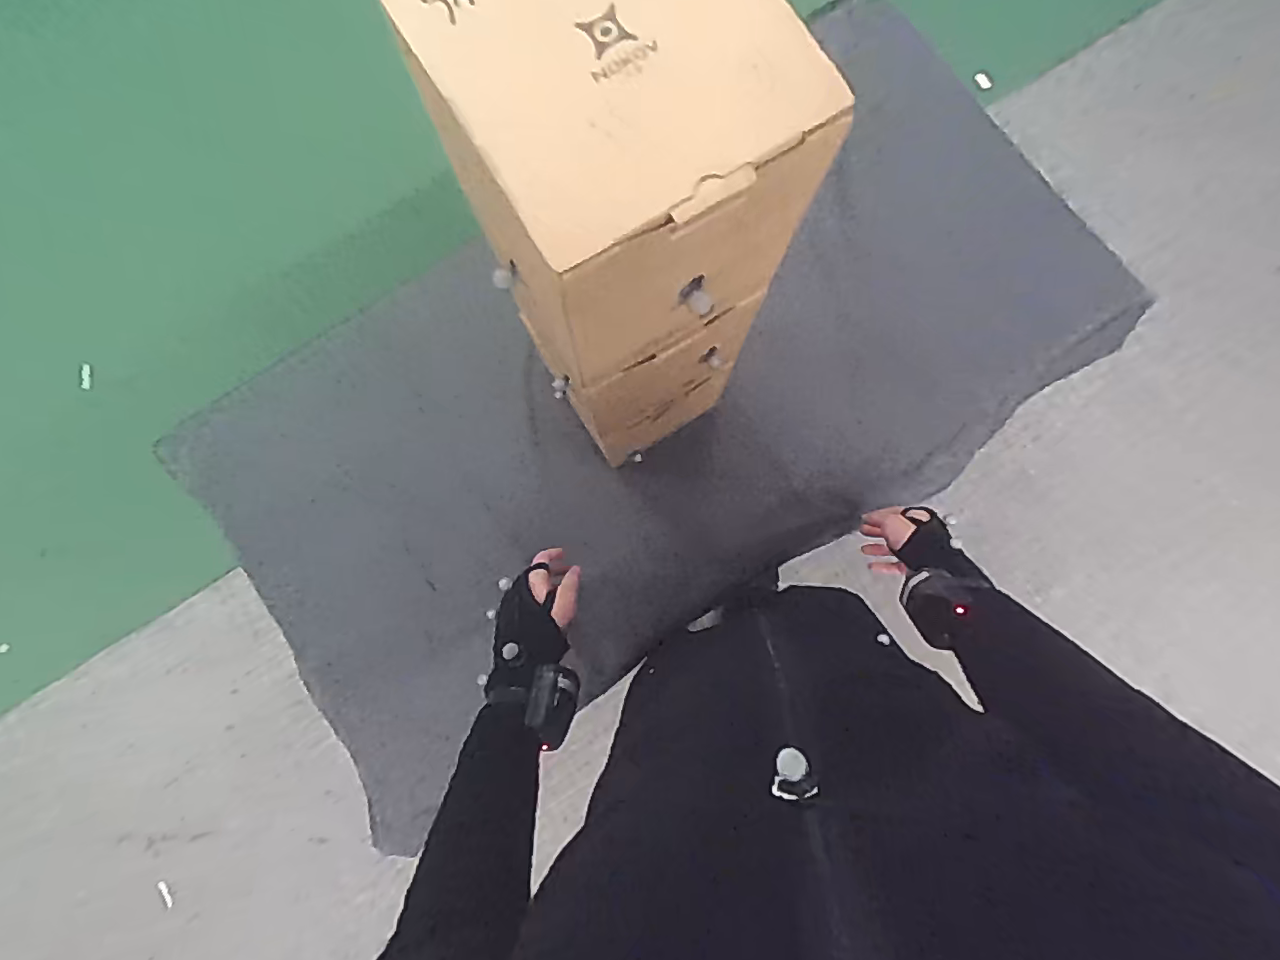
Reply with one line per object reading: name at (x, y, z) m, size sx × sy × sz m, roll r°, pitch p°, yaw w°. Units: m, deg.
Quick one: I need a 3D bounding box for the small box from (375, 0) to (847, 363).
small box at (-0.017, -0.191, 0.329) m, size 0.168 × 0.176 × 0.179 m, roll -31°, pitch 85°, yaw -6°

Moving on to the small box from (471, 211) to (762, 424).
small box at (-0.018, -0.167, 0.491) m, size 0.168 × 0.176 × 0.179 m, roll -32°, pitch 83°, yaw -5°

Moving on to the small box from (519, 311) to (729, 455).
small box at (-0.016, -0.144, 0.652) m, size 0.168 × 0.176 × 0.179 m, roll -33°, pitch 83°, yaw -4°
